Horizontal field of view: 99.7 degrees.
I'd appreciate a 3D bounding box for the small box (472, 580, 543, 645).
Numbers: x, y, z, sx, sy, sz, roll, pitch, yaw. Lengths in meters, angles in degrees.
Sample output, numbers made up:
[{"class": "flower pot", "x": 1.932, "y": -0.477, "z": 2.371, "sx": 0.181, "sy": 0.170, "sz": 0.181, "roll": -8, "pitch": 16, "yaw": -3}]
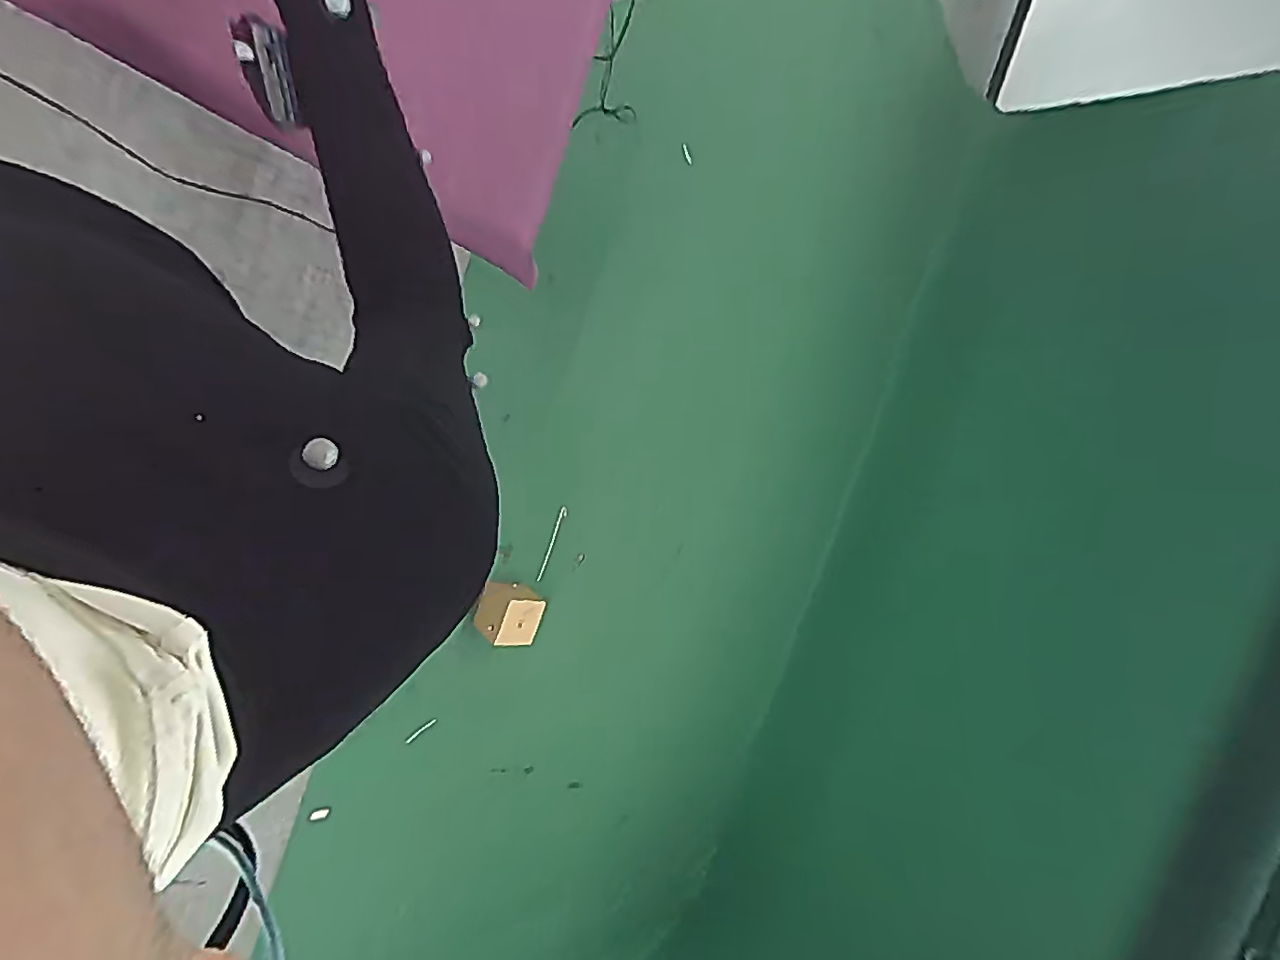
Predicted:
[{"class": "small box", "x": -0.496, "y": 0.490, "z": 1.999, "sx": 0.168, "sy": 0.176, "sz": 0.179, "roll": 19, "pitch": 94, "yaw": -47}]
